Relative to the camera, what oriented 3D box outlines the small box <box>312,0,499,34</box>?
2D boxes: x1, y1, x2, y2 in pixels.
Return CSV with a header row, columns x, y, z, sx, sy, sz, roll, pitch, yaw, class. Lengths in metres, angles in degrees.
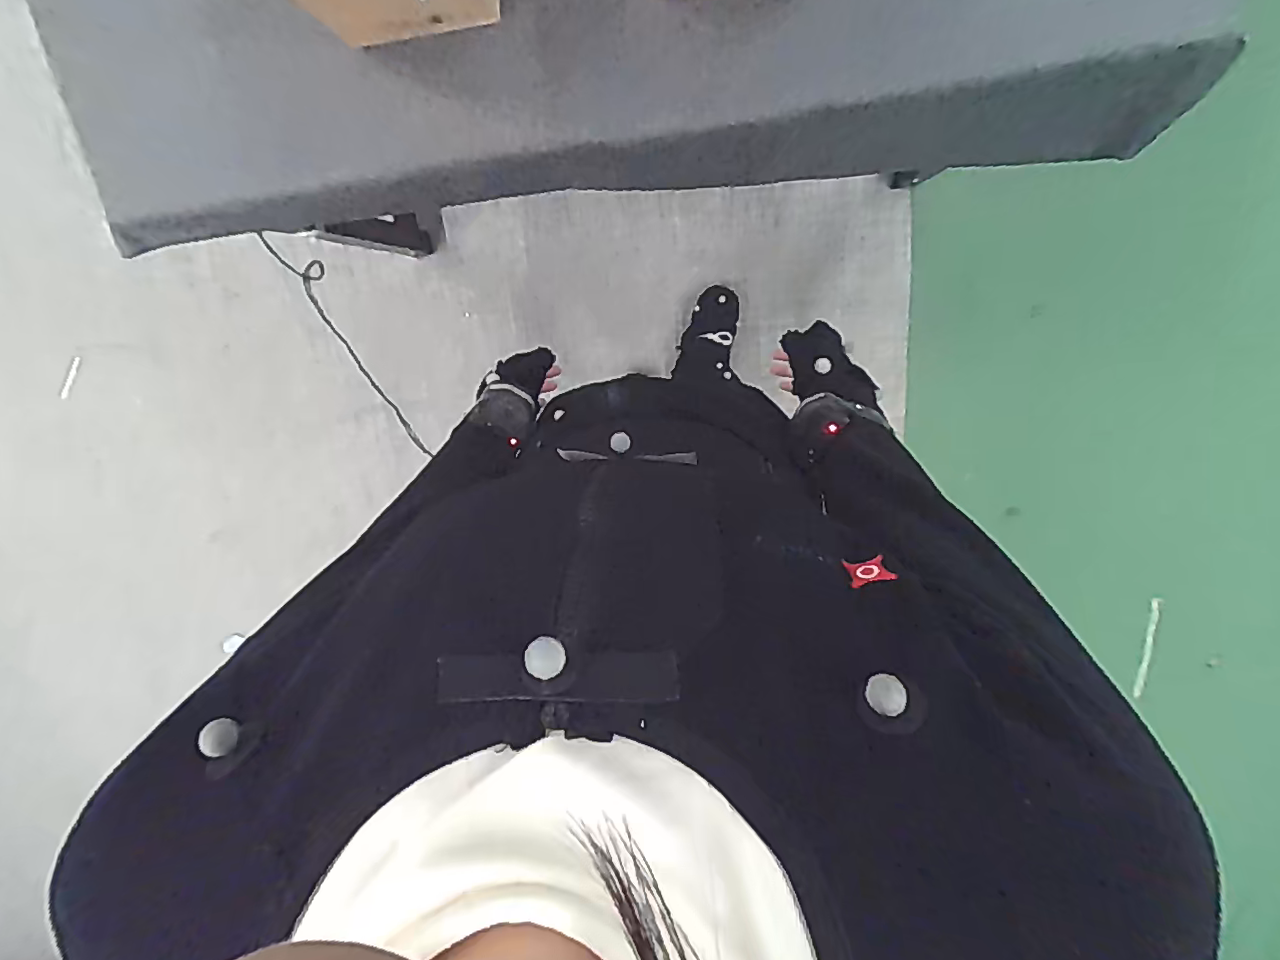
x,y,z,sx,sy,sz,roll,pitch,yaw,class
-0.236,-0.528,0.467,0.168,0.176,0.179,-5,106,6,small box
